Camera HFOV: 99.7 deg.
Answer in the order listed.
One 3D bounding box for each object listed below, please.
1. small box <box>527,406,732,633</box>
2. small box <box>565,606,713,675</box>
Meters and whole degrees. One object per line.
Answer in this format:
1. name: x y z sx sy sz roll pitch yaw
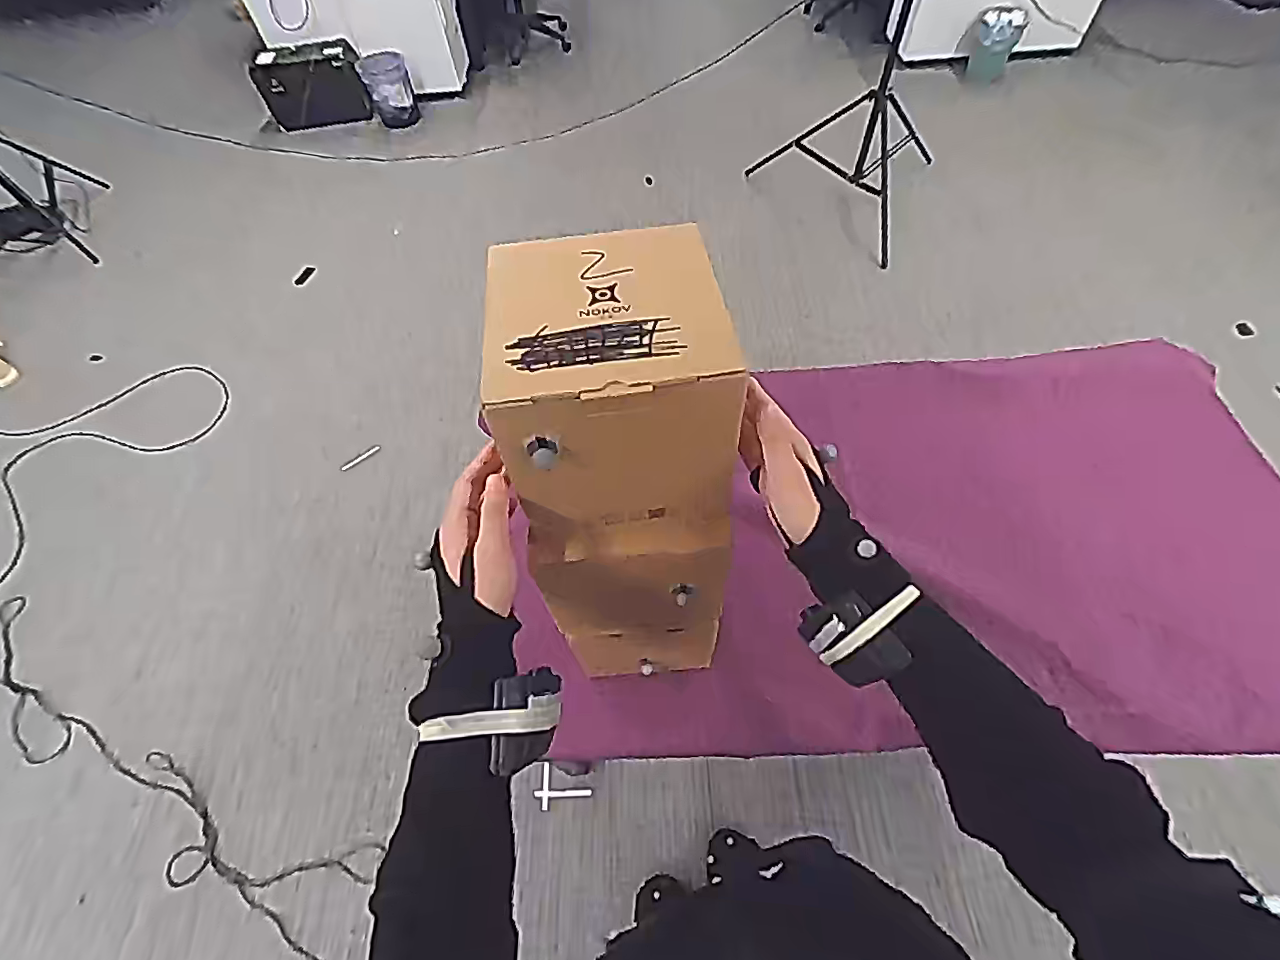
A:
1. small box: -0.011 0.046 0.563 0.179 0.176 0.168 -7 54 0
2. small box: -0.003 0.137 0.698 0.168 0.176 0.179 -5 57 0
